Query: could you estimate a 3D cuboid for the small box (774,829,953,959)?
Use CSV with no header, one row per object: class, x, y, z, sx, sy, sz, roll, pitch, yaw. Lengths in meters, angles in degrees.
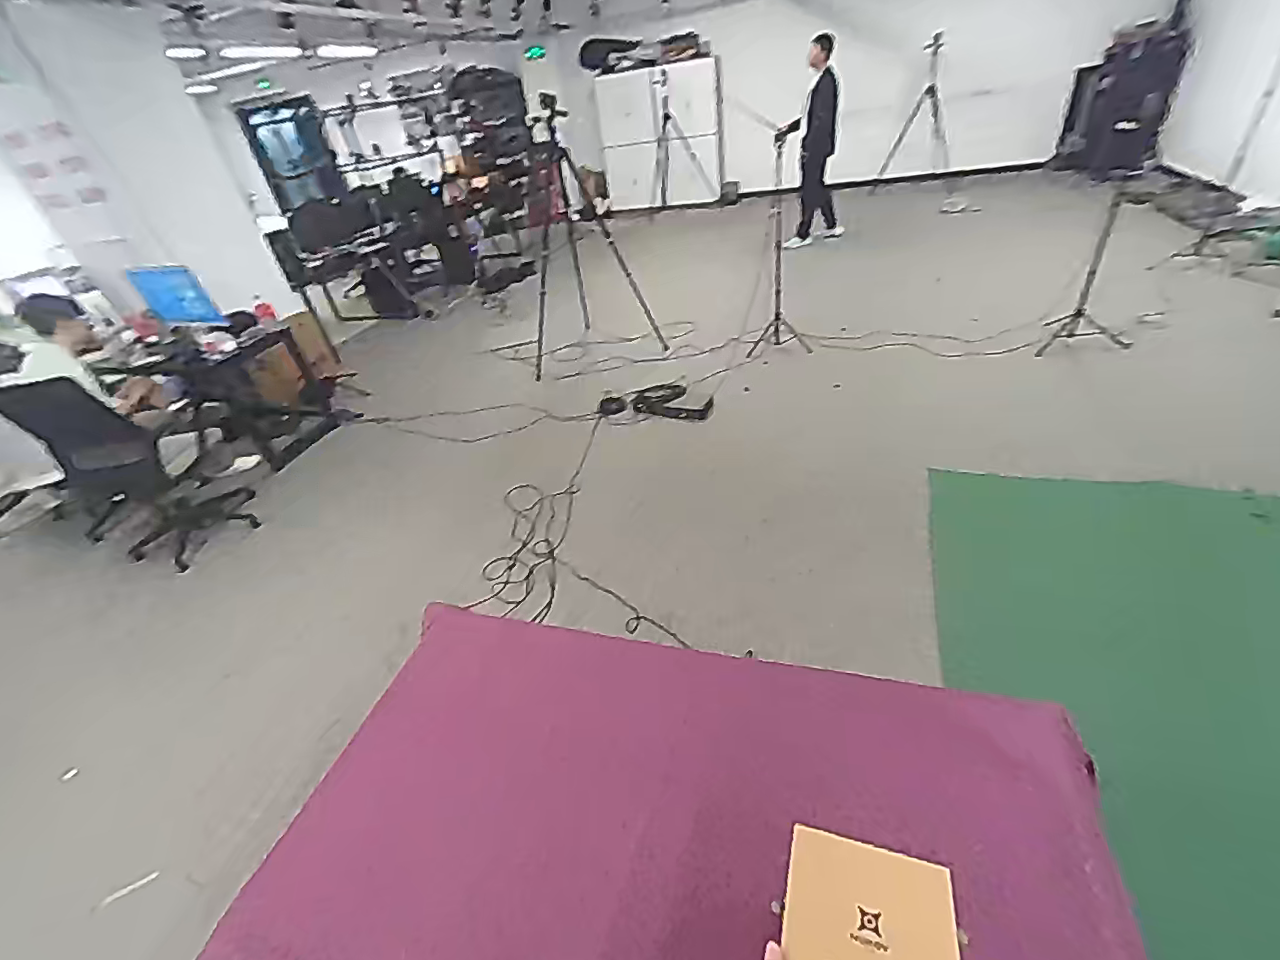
small box,0.233,0.534,0.585,0.168,0.176,0.179,5,31,21
